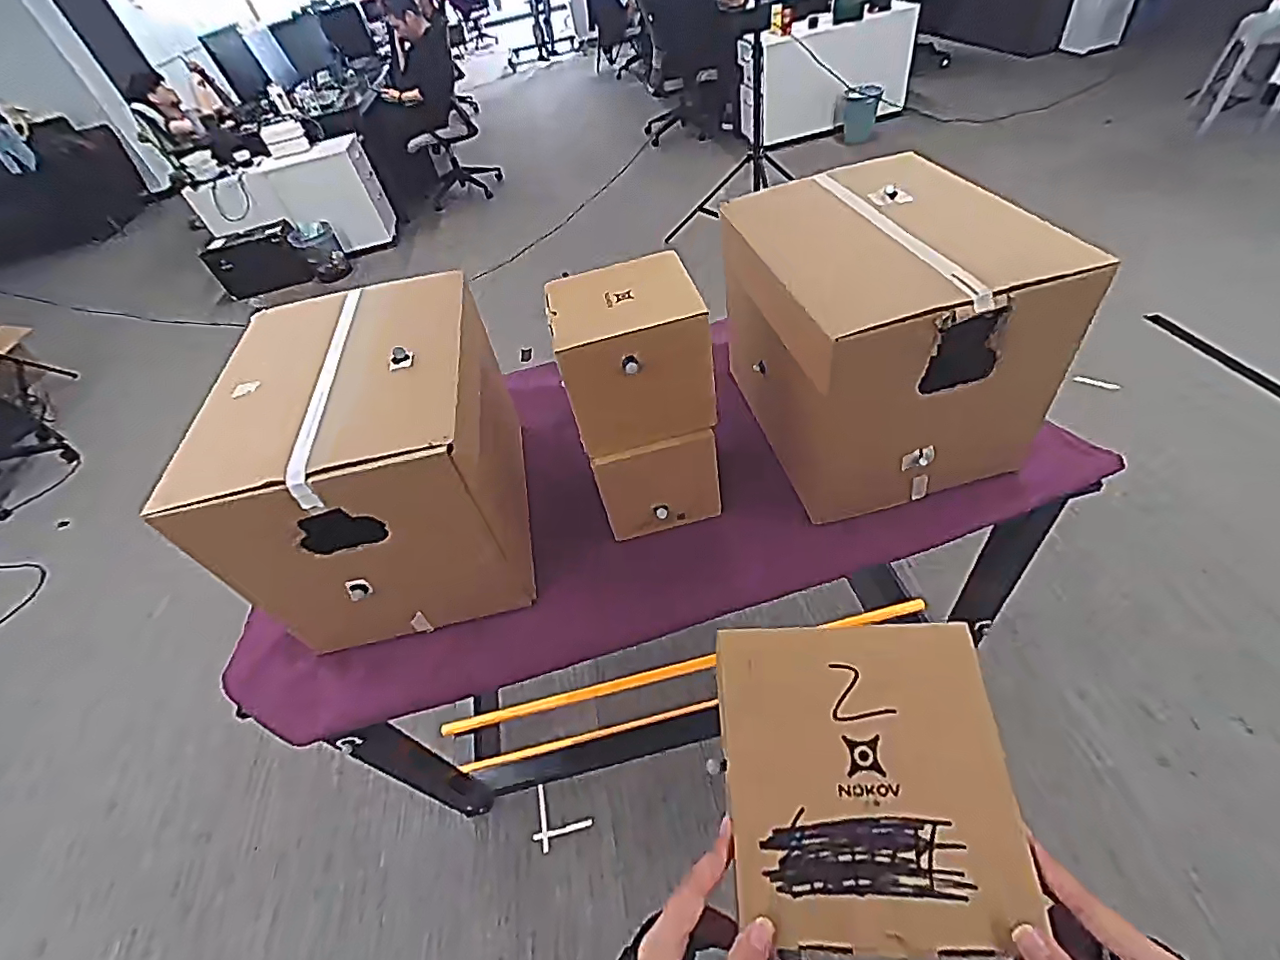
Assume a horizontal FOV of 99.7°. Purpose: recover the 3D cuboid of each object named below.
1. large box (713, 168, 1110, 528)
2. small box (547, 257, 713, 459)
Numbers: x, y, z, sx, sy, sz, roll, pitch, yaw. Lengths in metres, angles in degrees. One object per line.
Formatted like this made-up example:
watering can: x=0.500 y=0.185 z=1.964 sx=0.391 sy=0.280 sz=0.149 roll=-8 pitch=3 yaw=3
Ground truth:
large box: x=0.327 y=-0.202 z=0.794 sx=0.320 sy=0.320 sz=0.408 roll=-15 pitch=45 yaw=-1
small box: x=-0.009 y=-0.154 z=0.696 sx=0.179 sy=0.176 sz=0.168 roll=-15 pitch=46 yaw=1
